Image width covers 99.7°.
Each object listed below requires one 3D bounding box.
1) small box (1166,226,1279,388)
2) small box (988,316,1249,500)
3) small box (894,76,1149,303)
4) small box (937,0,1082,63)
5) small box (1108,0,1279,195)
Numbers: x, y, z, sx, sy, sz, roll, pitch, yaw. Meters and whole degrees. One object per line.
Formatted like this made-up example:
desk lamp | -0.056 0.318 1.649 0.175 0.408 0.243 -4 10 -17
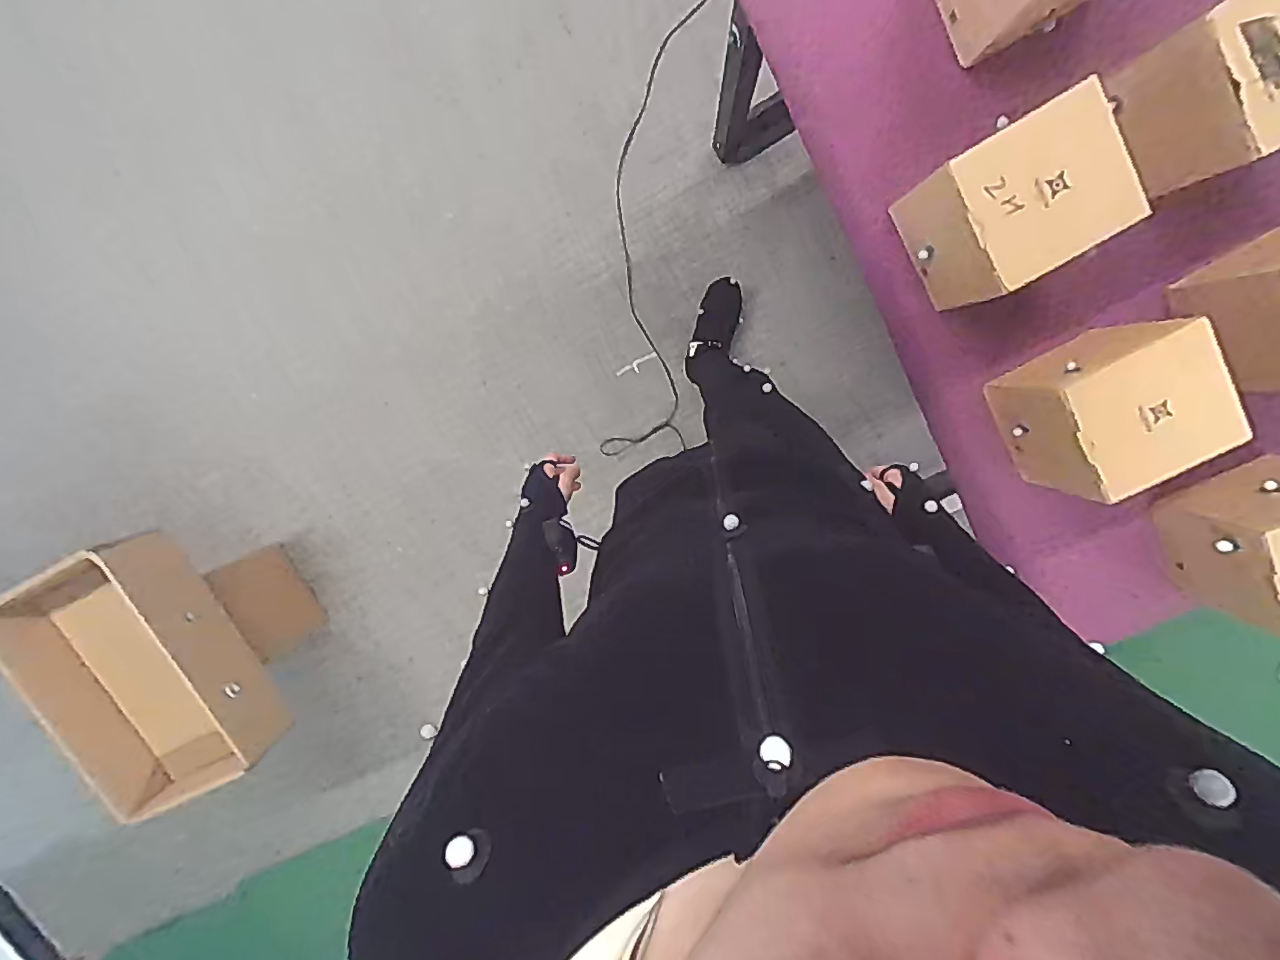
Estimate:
small box | 0.848 -0.231 0.685 0.179 0.176 0.168 -29 97 10
small box | 0.623 -0.099 0.727 0.179 0.176 0.168 -29 98 9
small box | 0.463 -0.346 0.685 0.179 0.176 0.168 -29 98 8
small box | 0.469 -0.646 0.623 0.179 0.176 0.168 -27 97 8
small box | 0.712 -0.478 0.643 0.179 0.176 0.168 -29 98 9
